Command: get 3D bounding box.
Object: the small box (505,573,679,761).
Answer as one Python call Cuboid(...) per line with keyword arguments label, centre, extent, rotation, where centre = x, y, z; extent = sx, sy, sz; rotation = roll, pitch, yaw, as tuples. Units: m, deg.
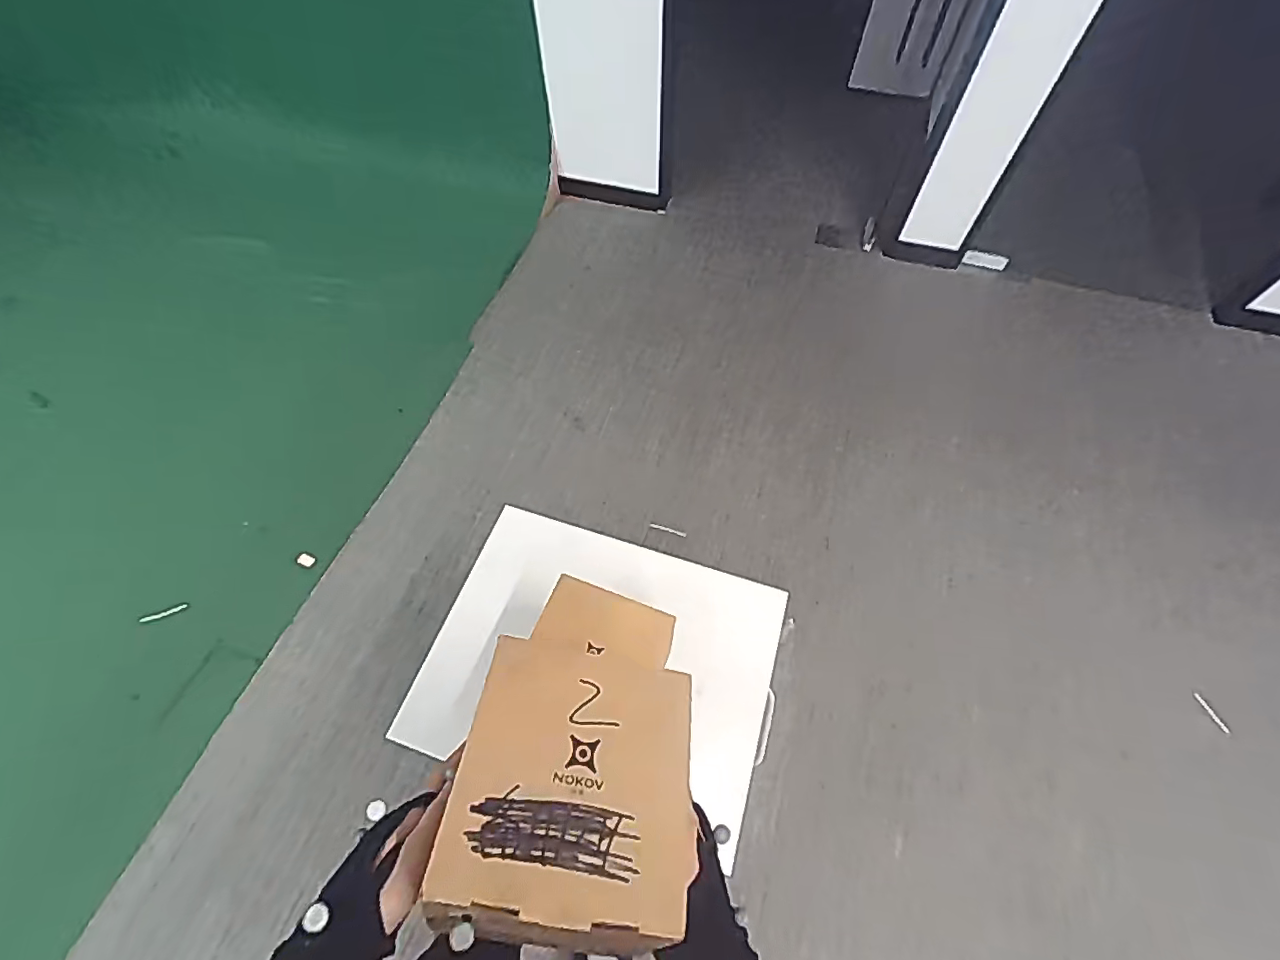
Cuboid(label="small box", centre=(-0.057, 0.258, 0.734), extent=(0.168, 0.176, 0.179), rotation=(18, 61, 11))
